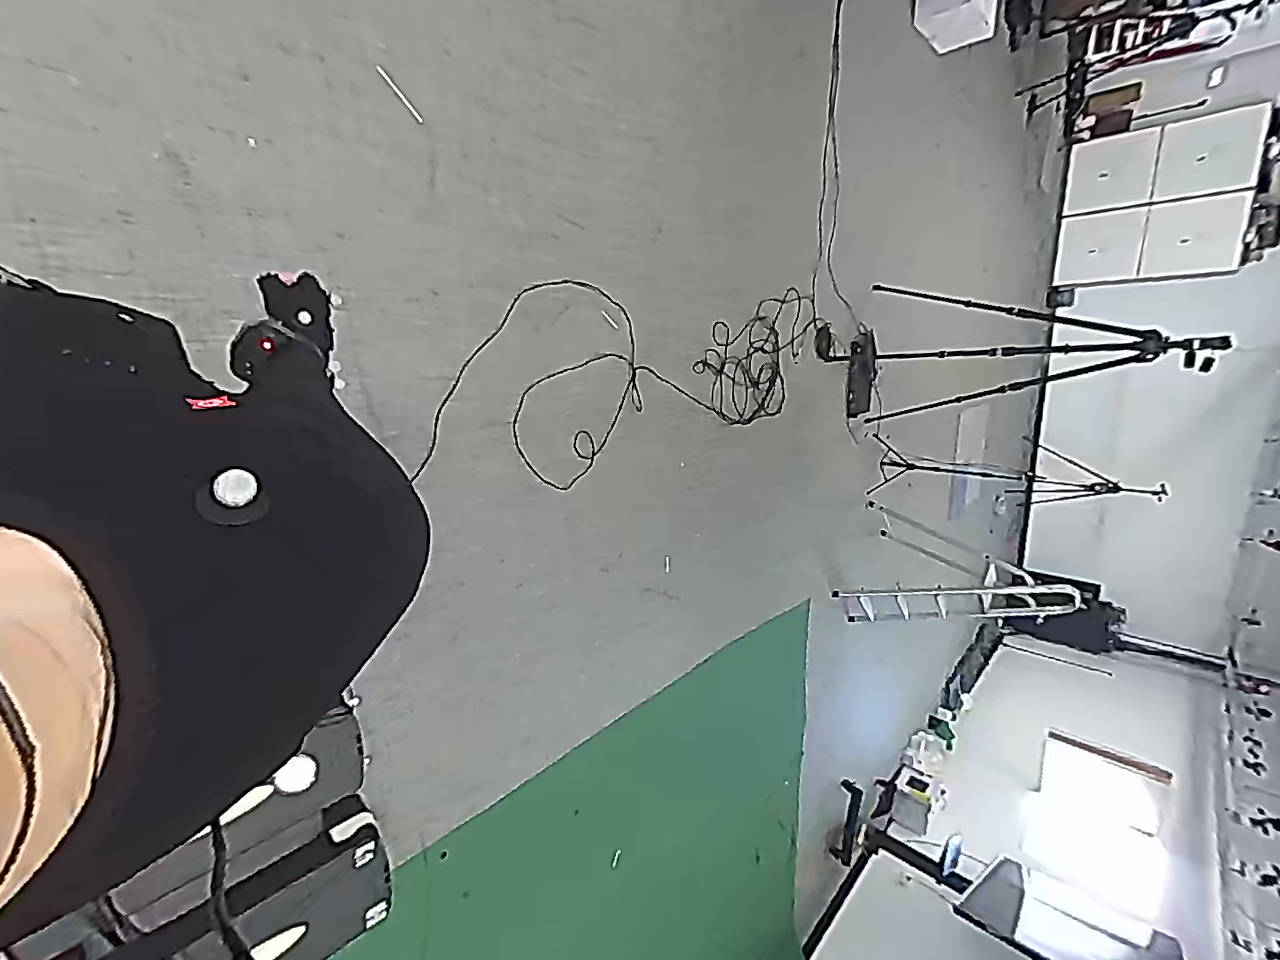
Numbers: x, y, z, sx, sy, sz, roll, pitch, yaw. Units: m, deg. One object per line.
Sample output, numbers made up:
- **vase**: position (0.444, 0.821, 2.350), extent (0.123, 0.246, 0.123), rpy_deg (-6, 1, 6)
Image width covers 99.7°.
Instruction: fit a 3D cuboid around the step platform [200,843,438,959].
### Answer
- **step platform**: position (-0.812, 1.141, 1.173), extent (0.684, 0.204, 0.286), rpy_deg (-15, 108, -45)
